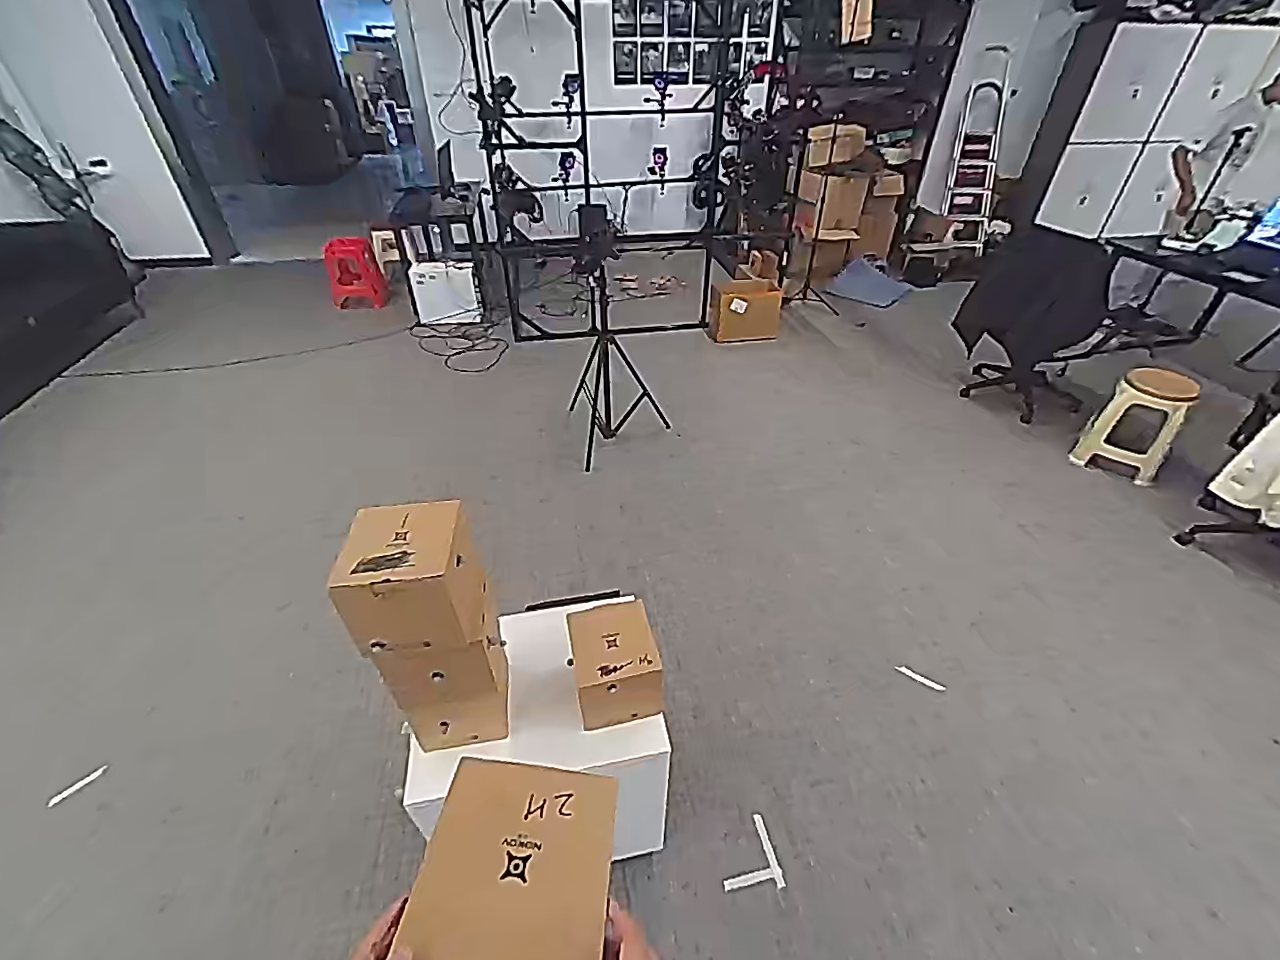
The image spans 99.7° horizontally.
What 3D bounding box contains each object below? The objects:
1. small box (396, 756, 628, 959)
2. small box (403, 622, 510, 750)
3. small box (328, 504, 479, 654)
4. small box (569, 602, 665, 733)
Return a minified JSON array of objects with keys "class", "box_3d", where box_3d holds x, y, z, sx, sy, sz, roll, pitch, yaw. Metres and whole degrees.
[{"class":"small box","box_3d":[-0.111,0.407,0.518,0.168,0.176,0.179,10,27,-1]},{"class":"small box","box_3d":[-0.356,0.416,1.081,0.168,0.176,0.179,-6,38,-8]},{"class":"small box","box_3d":[-0.363,0.162,0.872,0.168,0.176,0.179,-5,37,-5]},{"class":"small box","box_3d":[-0.051,0.385,1.116,0.168,0.176,0.179,-10,39,-9]}]
